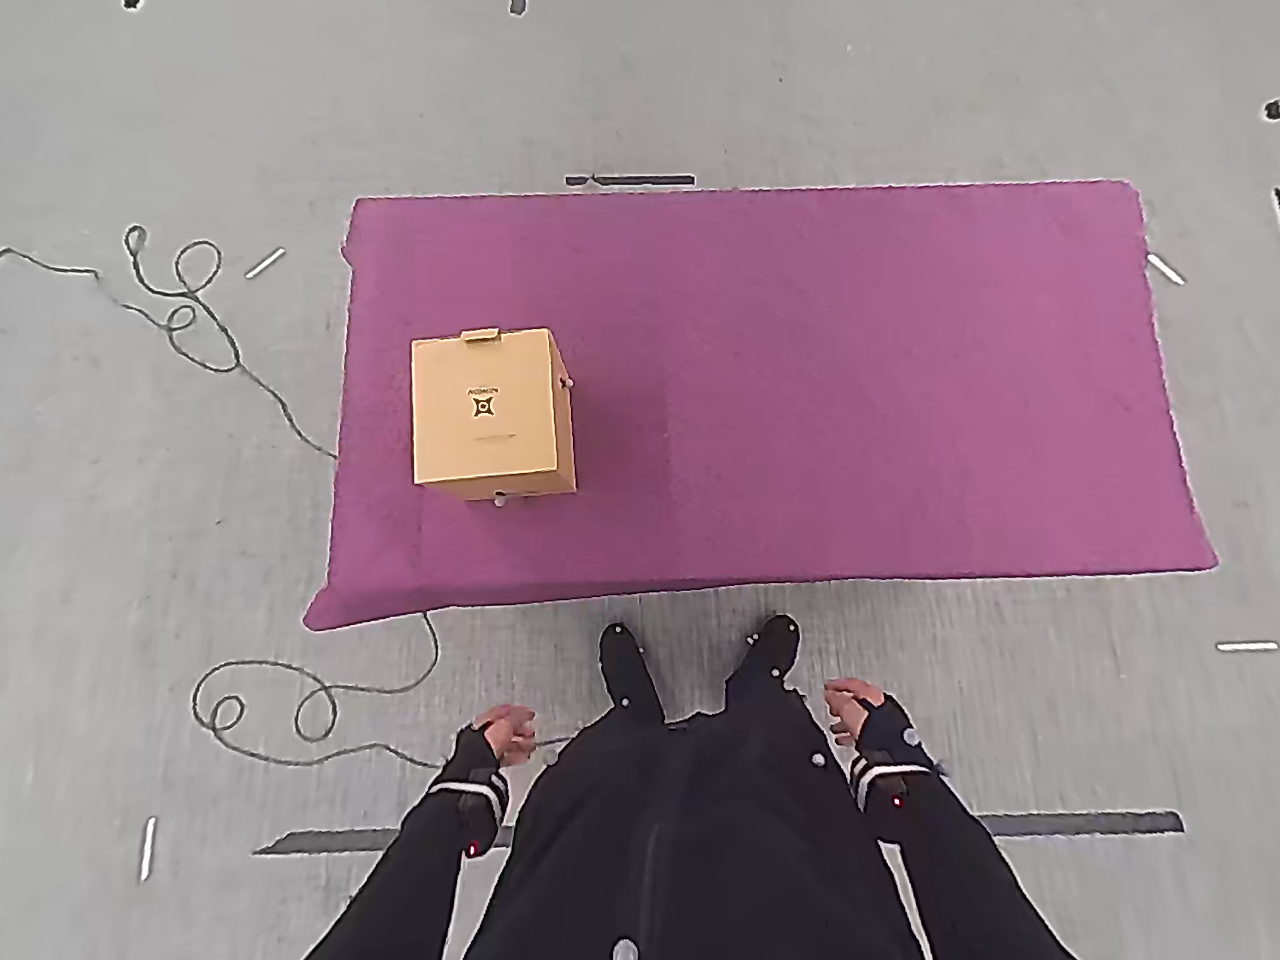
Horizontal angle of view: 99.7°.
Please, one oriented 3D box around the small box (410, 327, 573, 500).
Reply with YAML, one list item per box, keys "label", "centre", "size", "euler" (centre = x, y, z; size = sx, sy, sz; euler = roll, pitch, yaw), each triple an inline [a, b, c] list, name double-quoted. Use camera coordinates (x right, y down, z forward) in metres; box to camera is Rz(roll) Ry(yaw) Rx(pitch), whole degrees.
- label: "small box"
  centre: [-0.180, -0.076, 0.698]
  size: [0.168, 0.176, 0.179]
  euler: [-4, 80, 0]
